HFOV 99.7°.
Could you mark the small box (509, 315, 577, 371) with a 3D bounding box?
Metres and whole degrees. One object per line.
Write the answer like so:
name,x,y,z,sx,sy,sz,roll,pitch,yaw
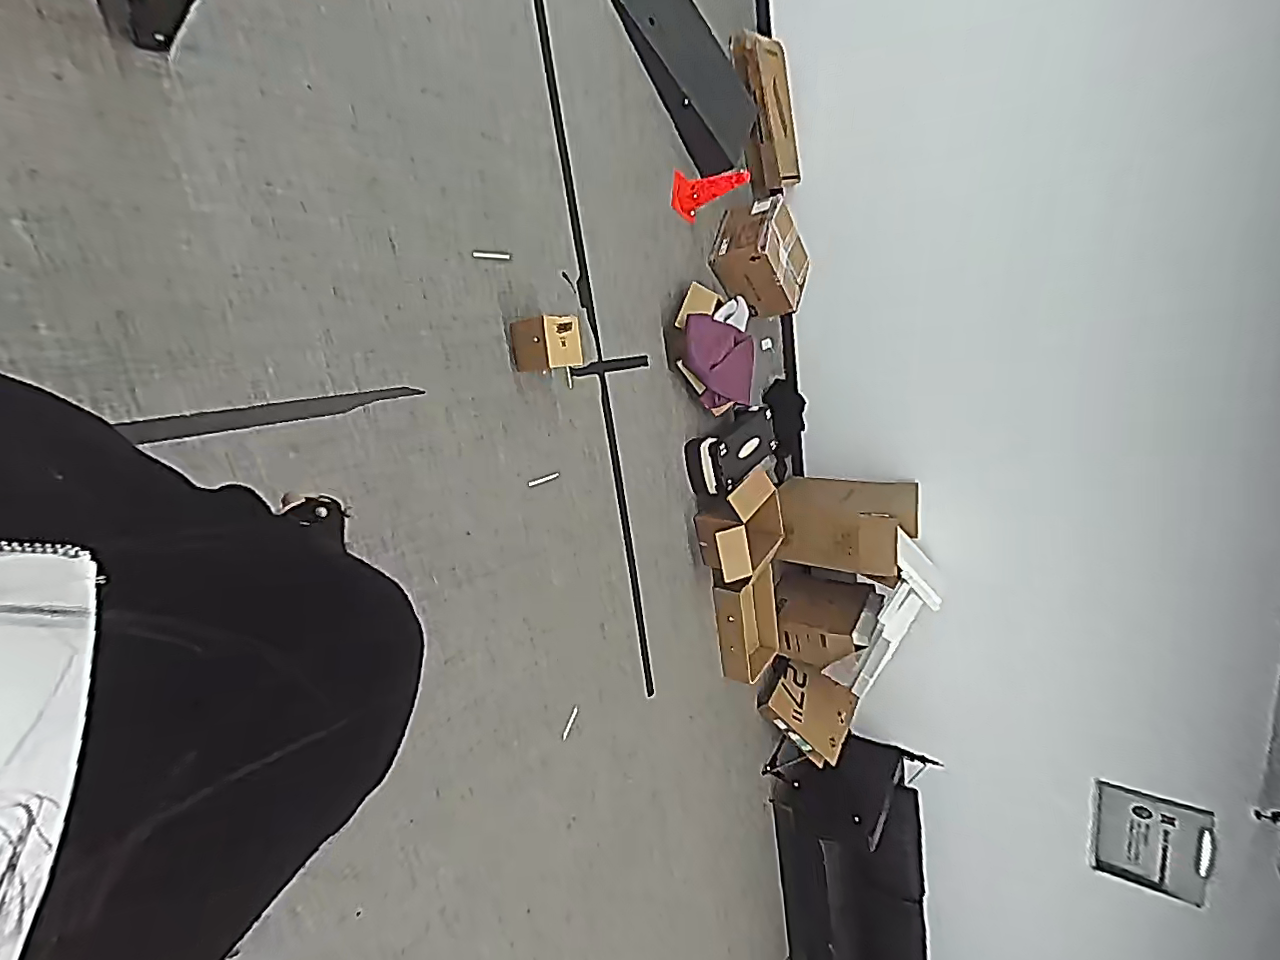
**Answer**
small box,-0.347,-0.486,1.922,0.168,0.176,0.179,-20,109,-50
